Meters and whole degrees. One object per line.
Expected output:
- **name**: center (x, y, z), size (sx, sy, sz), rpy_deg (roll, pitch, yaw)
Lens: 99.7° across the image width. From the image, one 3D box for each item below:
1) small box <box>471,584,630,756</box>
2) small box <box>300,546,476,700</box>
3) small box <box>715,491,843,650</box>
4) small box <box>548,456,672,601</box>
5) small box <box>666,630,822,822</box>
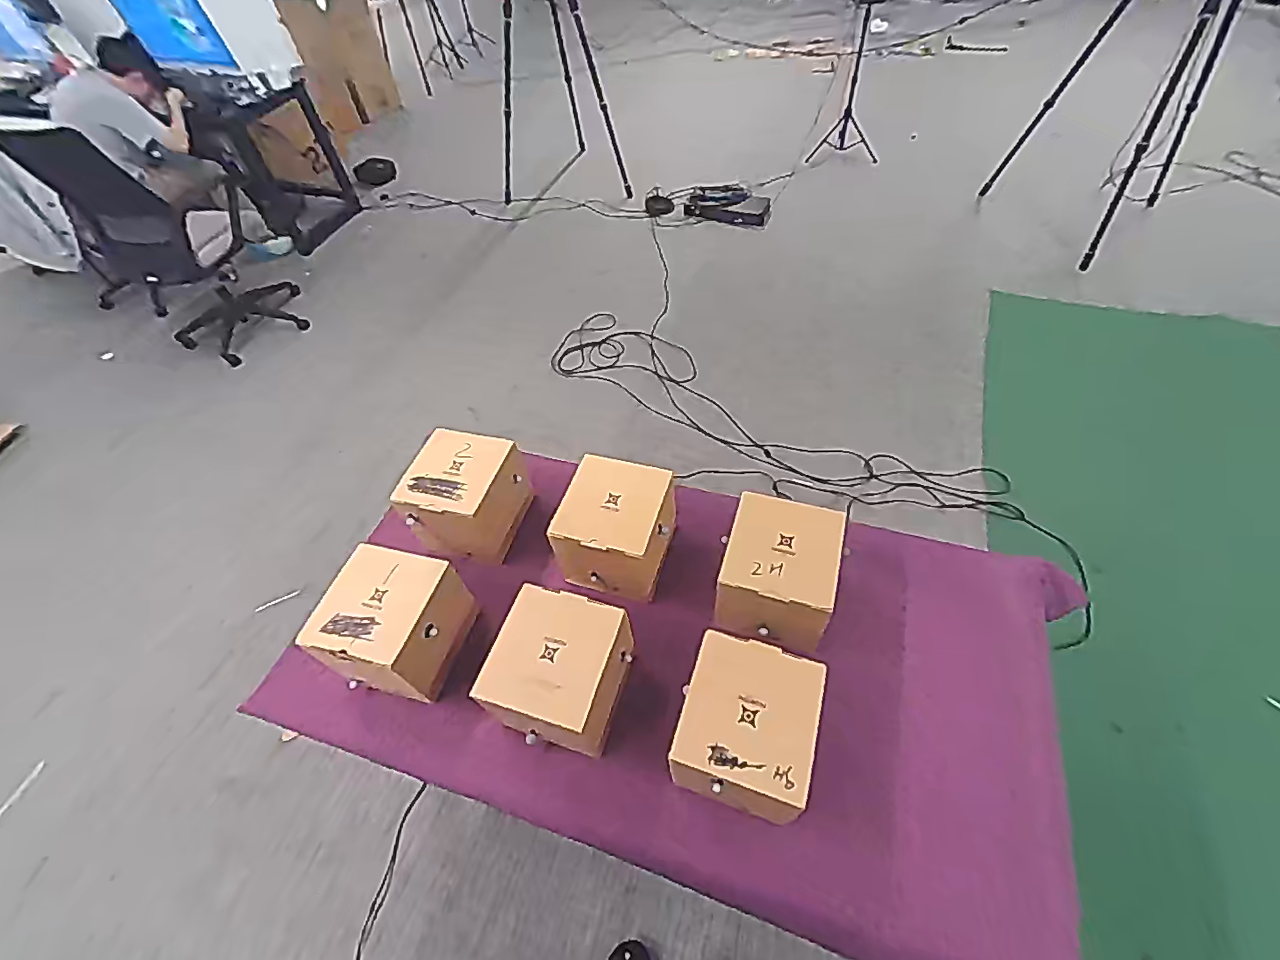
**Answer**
- **small box**: center (-0.120, 0.289, 0.819), size (0.168, 0.176, 0.179), rpy_deg (11, 55, 16)
- **small box**: center (-0.394, 0.238, 0.885), size (0.168, 0.176, 0.179), rpy_deg (9, 52, 13)
- **small box**: center (0.221, 0.149, 0.883), size (0.168, 0.176, 0.179), rpy_deg (12, 56, 16)
- **small box**: center (-0.042, 0.088, 0.964), size (0.168, 0.176, 0.179), rpy_deg (11, 56, 15)
- **small box**: center (0.142, 0.340, 0.746), size (0.168, 0.176, 0.179), rpy_deg (13, 54, 17)
